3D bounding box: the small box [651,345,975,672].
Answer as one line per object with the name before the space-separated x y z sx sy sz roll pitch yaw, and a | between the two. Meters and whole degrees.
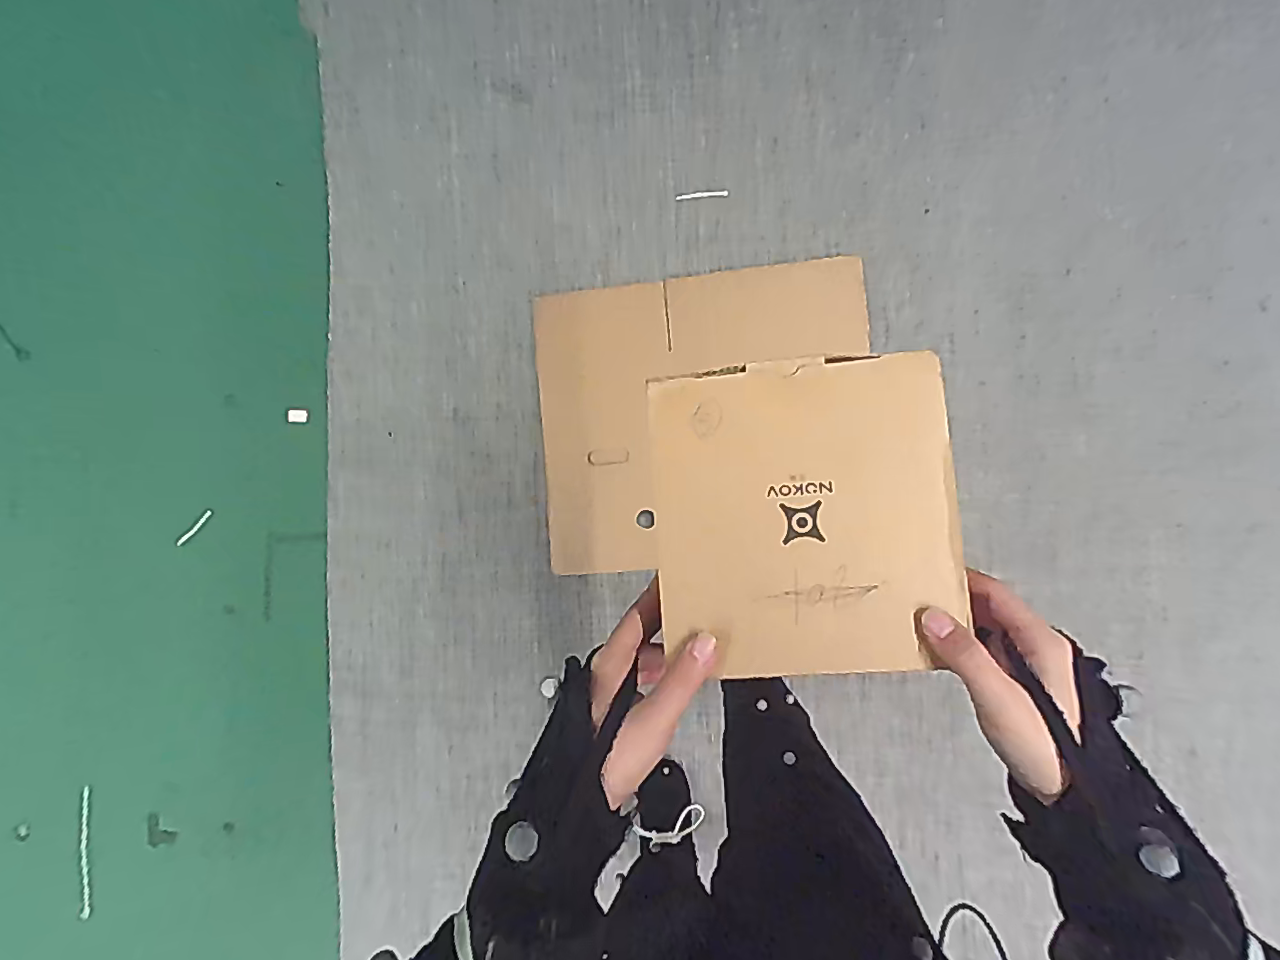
small box | 0.101 0.022 0.381 0.168 0.176 0.179 -5 86 8
